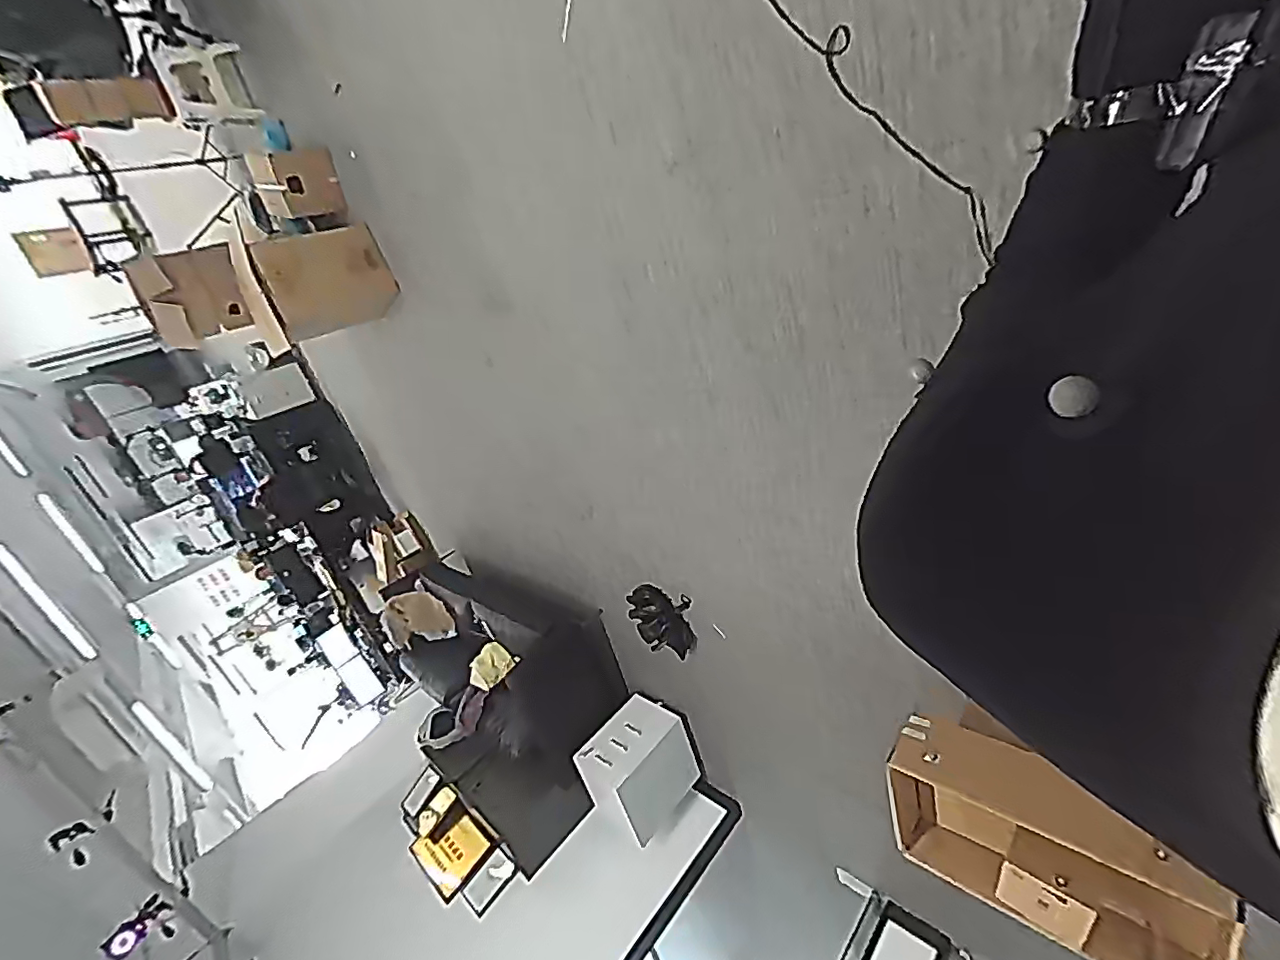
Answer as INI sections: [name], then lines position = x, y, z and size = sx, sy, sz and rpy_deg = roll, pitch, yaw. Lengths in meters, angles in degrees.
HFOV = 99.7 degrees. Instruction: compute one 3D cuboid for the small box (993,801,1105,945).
[small box]
position = 0.938, 0.894, 1.242
size = 0.168, 0.176, 0.179
rpy_deg = 16, 130, 41
